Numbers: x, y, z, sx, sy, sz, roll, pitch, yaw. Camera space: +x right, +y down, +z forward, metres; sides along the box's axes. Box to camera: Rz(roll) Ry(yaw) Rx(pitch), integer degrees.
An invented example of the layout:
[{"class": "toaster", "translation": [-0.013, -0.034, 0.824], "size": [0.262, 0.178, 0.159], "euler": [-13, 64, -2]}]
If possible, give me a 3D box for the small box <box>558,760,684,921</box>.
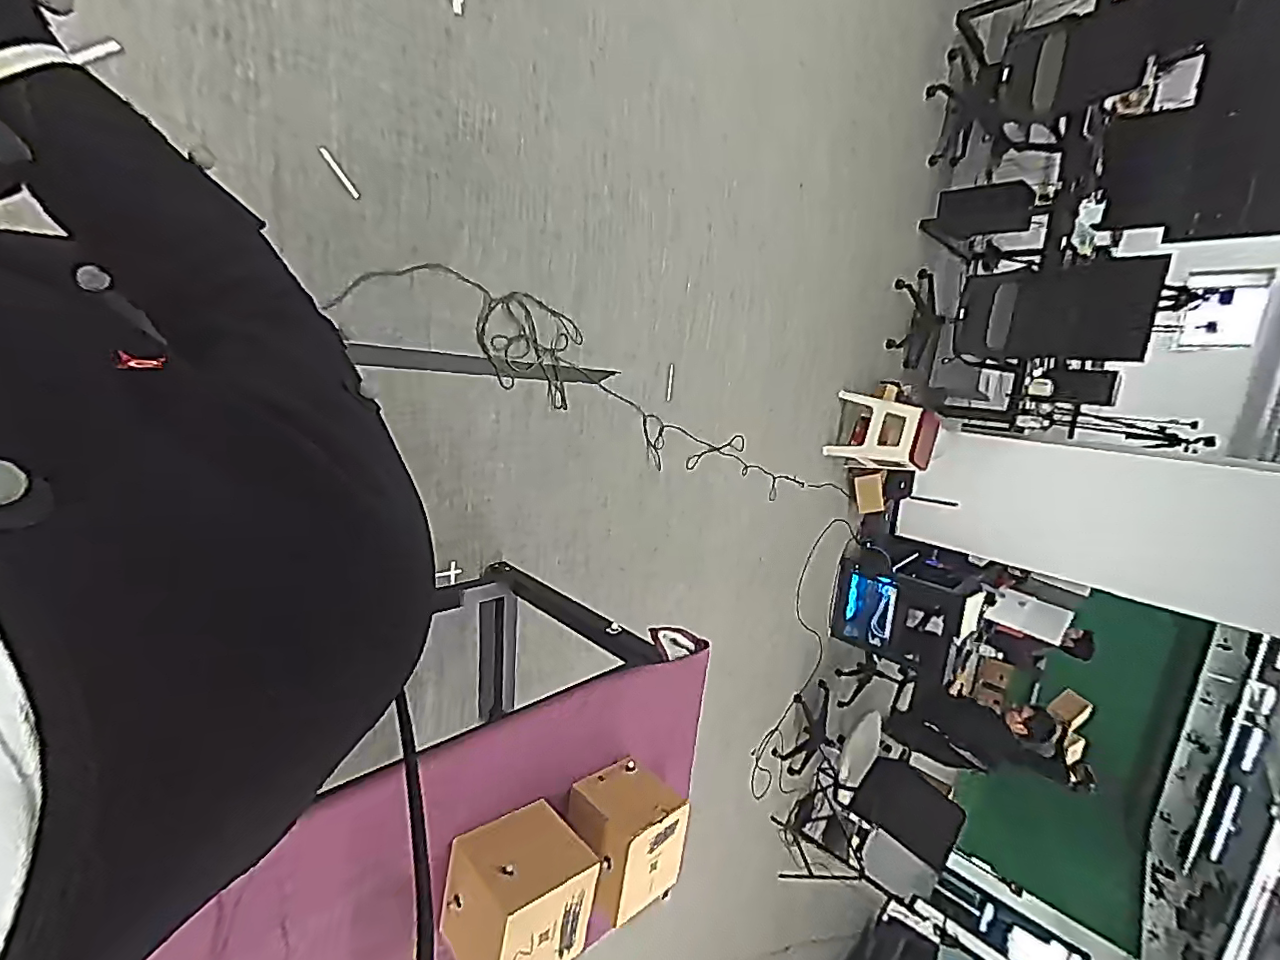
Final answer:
[{"class": "small box", "translation": [-0.040, 0.675, 1.046], "size": [0.168, 0.176, 0.179], "euler": [2, 100, -46]}]
